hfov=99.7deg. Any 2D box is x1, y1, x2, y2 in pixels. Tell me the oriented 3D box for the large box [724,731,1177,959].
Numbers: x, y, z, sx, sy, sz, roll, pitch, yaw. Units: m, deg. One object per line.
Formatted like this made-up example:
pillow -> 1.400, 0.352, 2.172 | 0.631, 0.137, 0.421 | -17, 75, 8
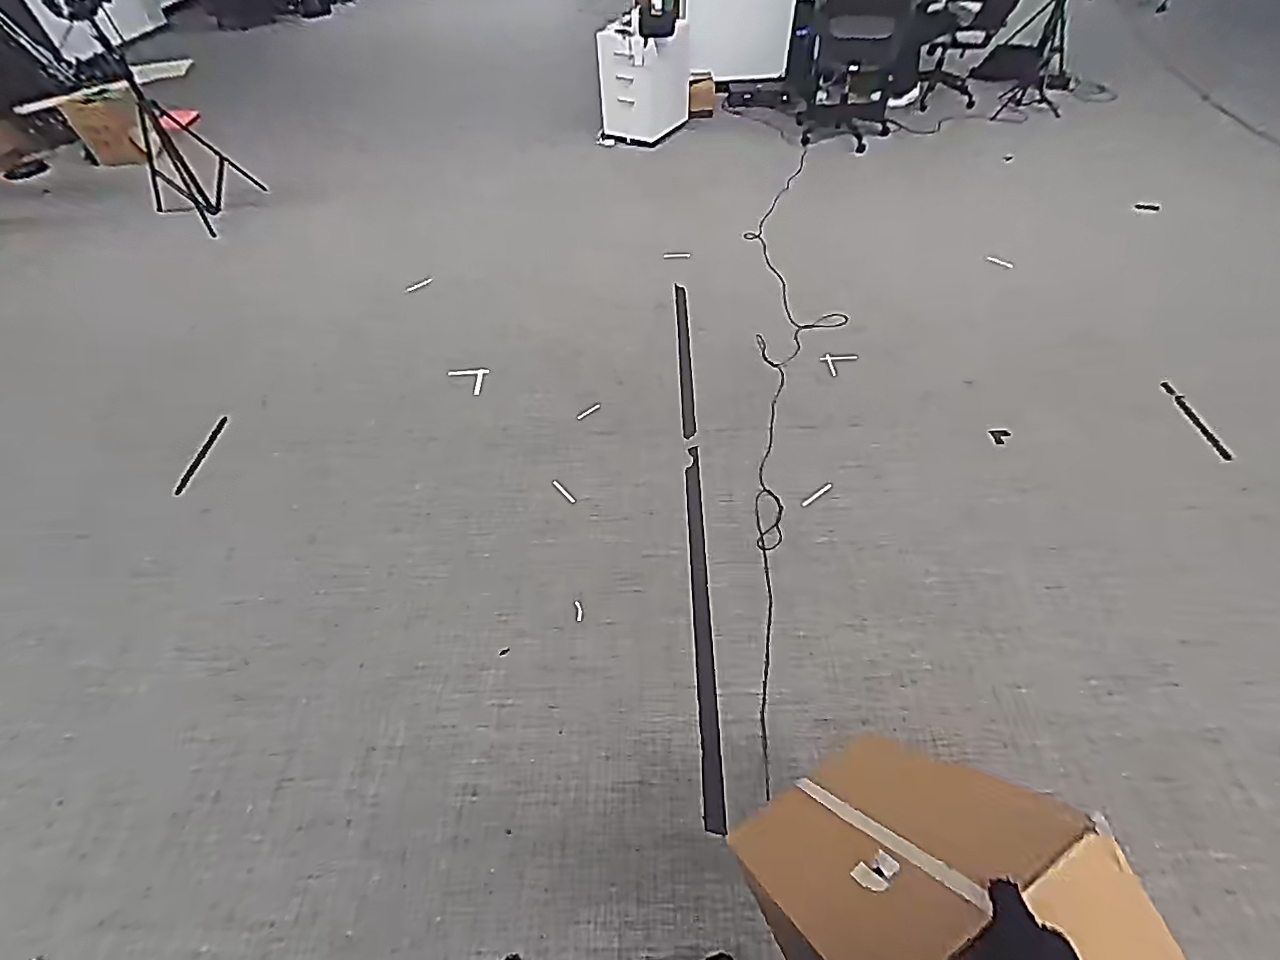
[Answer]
large box -> 0.376, 0.591, 0.698 | 0.320, 0.408, 0.320 | -28, 86, -18
